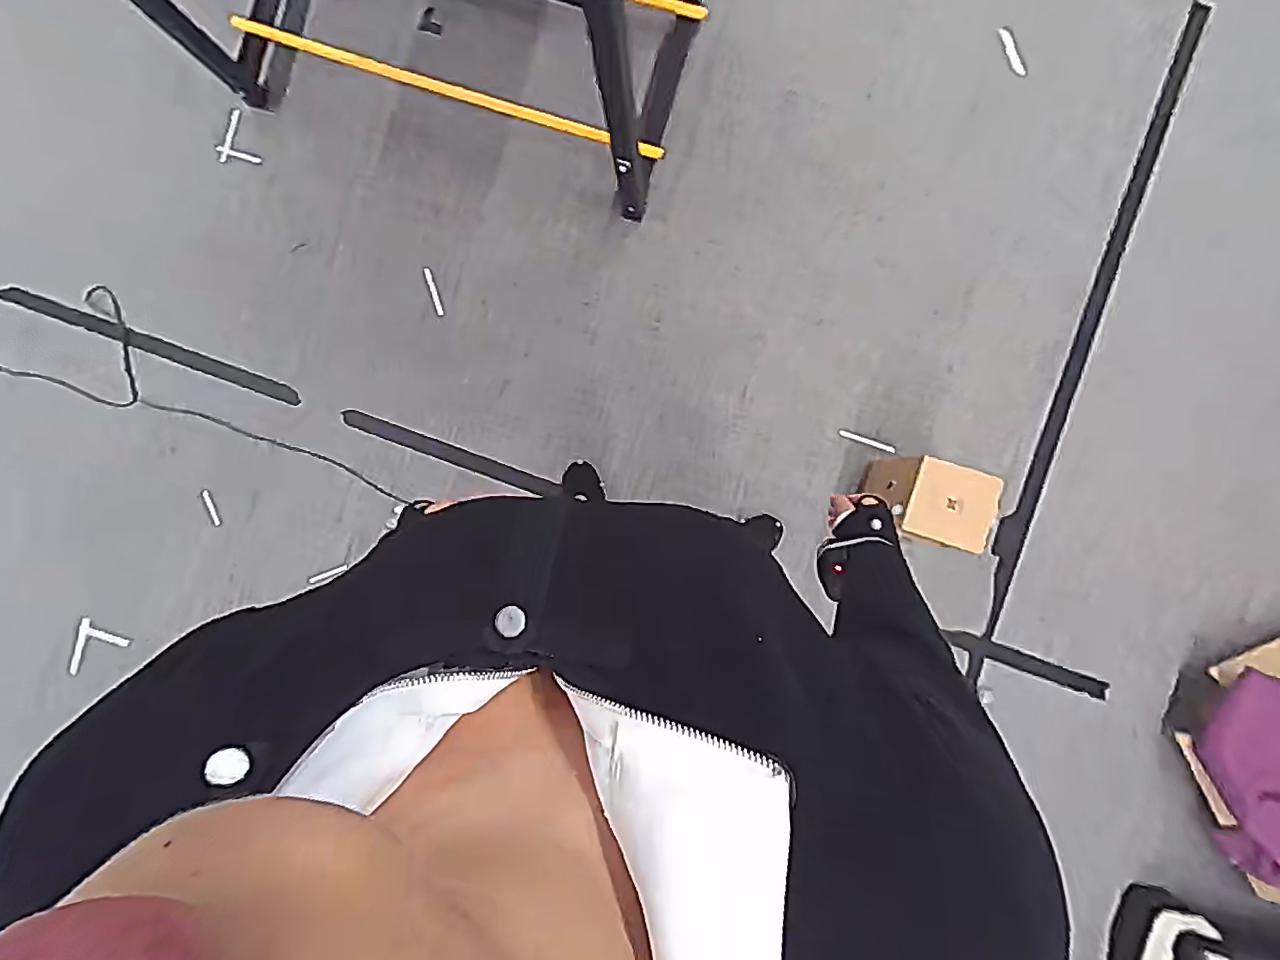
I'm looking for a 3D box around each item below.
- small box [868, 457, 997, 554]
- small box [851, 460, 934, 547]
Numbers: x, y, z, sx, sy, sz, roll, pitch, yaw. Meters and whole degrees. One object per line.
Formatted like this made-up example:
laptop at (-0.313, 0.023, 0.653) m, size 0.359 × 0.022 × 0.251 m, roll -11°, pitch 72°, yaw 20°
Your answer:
small box at (0.650, 0.054, 1.220) m, size 0.179 × 0.176 × 0.168 m, roll 18°, pitch 90°, yaw 4°
small box at (0.662, 0.056, 1.382) m, size 0.168 × 0.176 × 0.179 m, roll 17°, pitch 91°, yaw 2°
